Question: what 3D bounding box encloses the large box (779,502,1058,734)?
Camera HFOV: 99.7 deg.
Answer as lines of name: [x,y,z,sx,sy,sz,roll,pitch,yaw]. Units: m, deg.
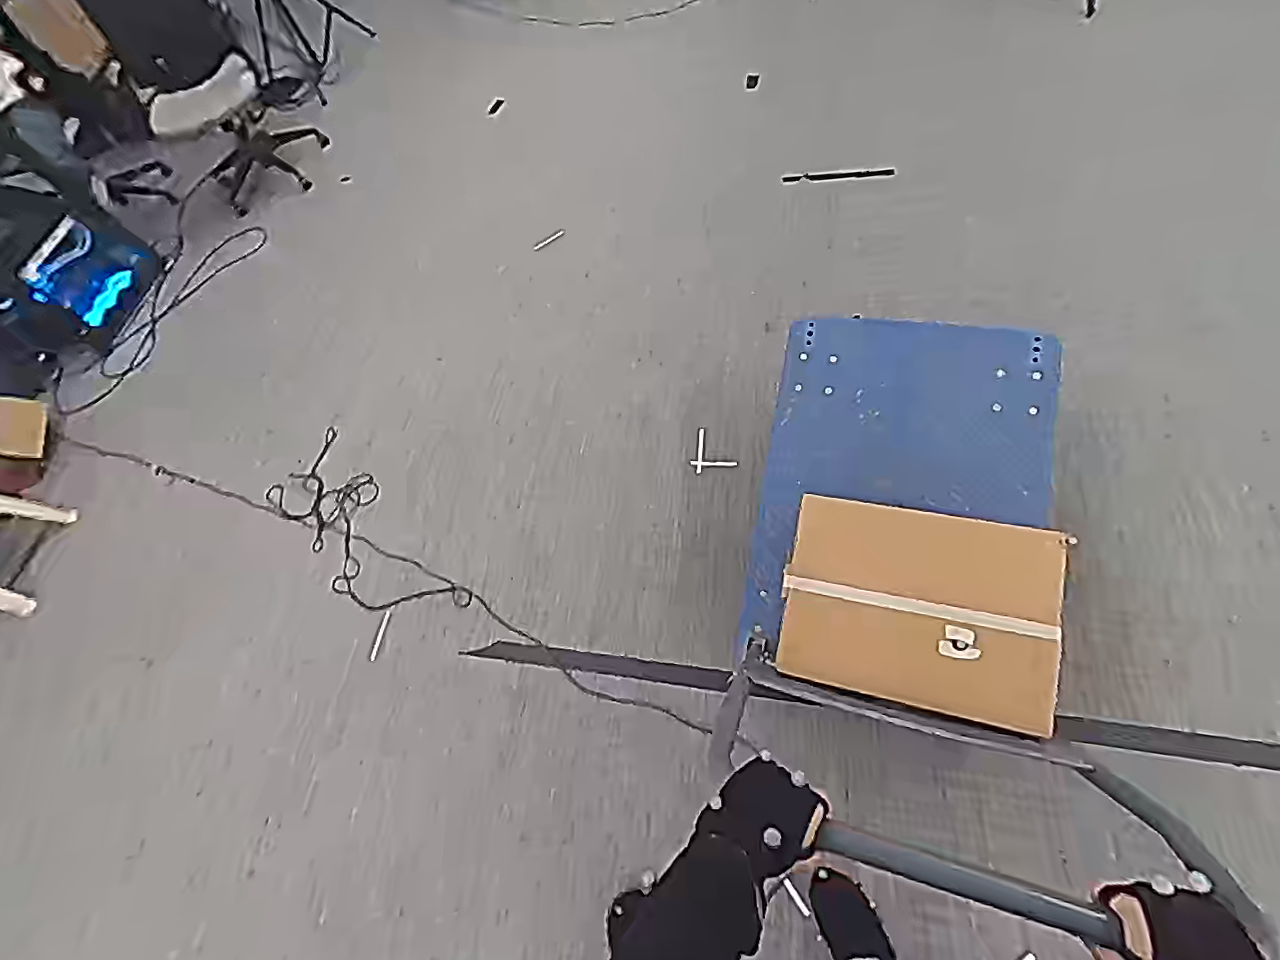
large box: [0.489,0.242,1.036,0.408,0.320,0.320,9,82,16]
